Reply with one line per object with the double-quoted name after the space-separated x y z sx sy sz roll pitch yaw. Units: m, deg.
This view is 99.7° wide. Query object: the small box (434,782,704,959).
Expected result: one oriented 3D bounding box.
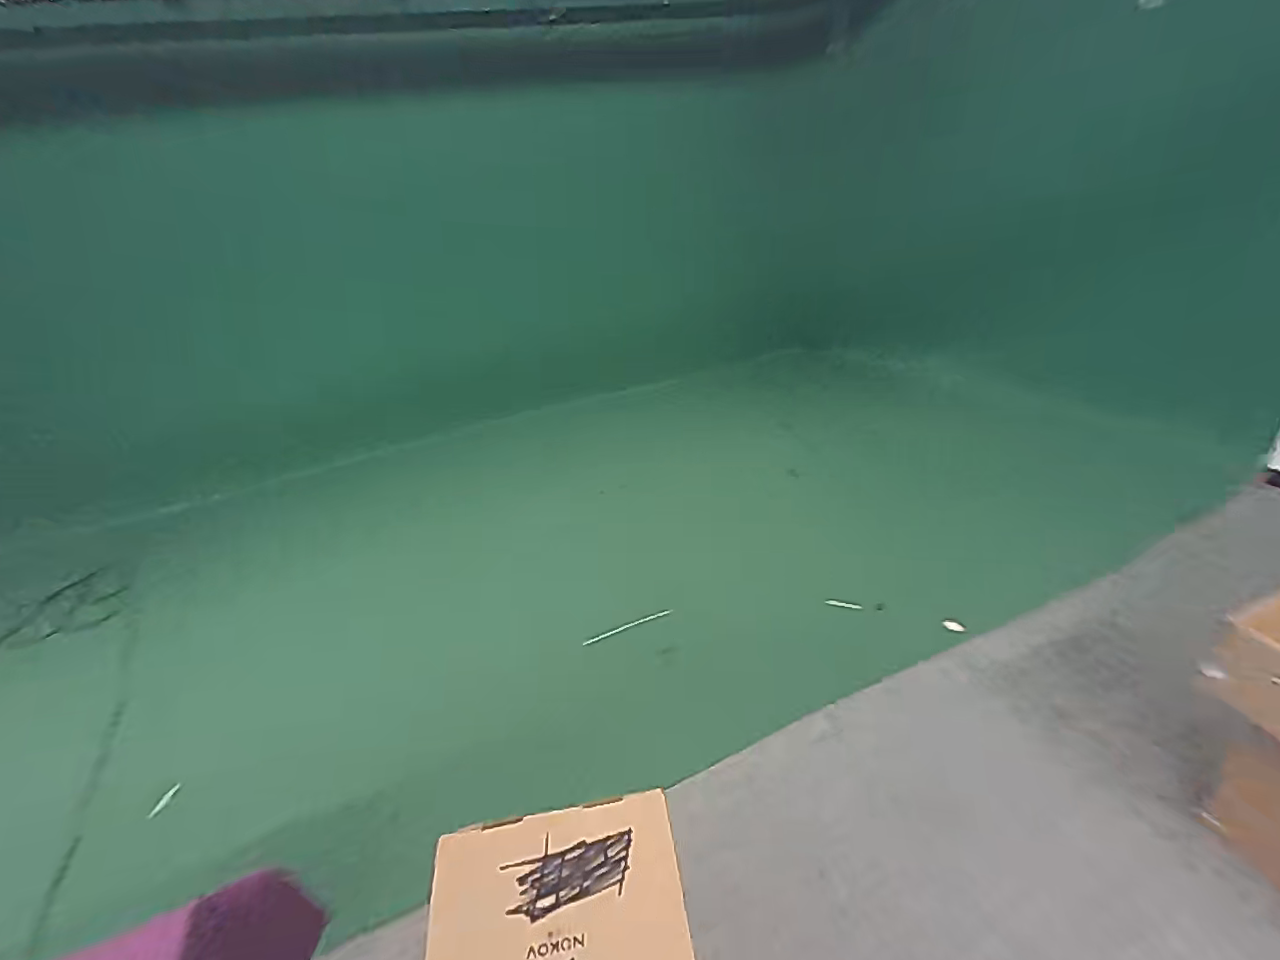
-0.038 0.351 0.380 0.168 0.176 0.179 -9 39 -3 "small box"
